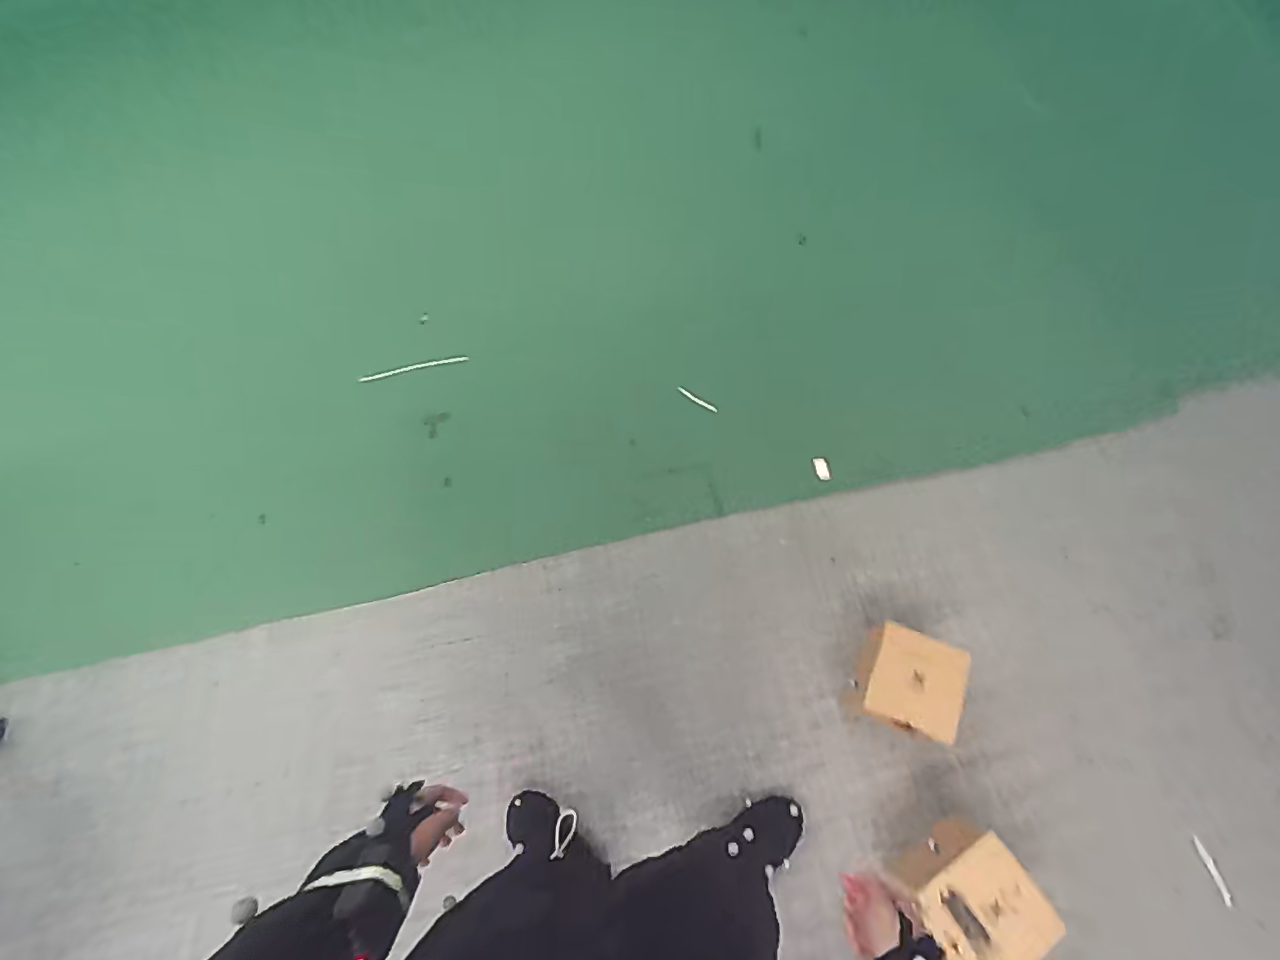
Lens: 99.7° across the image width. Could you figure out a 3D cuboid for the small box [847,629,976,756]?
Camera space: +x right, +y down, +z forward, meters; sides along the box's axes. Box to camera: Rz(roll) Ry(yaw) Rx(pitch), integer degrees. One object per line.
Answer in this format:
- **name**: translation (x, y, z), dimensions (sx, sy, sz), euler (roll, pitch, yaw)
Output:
- **small box**: translation (0.532, 0.423, 1.082), dimensions (0.168, 0.176, 0.179), euler (21, 69, 12)
